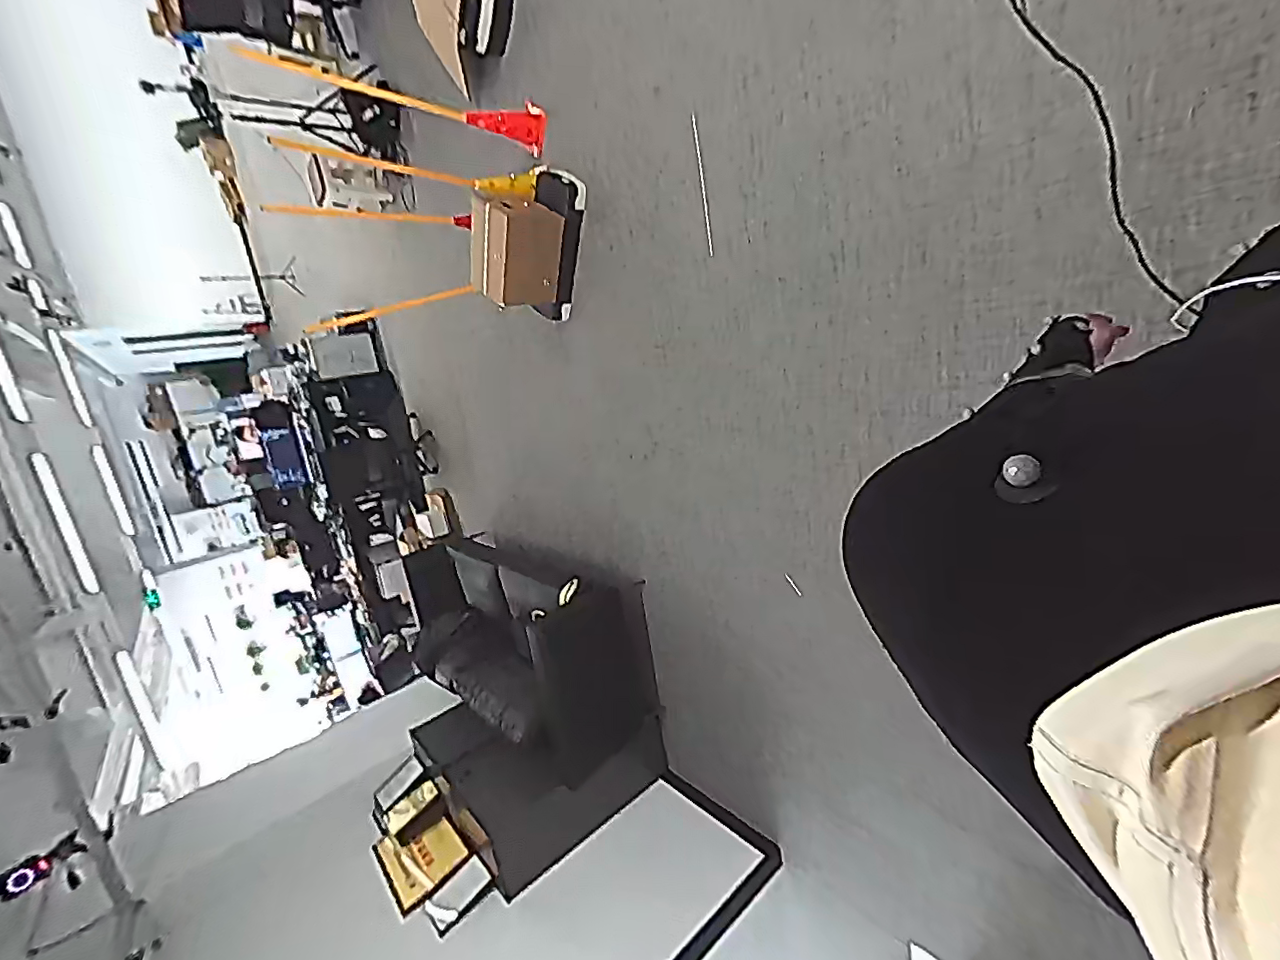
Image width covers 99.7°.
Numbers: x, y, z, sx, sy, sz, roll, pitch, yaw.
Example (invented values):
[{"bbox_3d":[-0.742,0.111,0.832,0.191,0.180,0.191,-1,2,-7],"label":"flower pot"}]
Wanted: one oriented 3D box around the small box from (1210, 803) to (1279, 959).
[{"bbox_3d":[0.790,0.525,0.623,0.168,0.176,0.179,9,113,50],"label":"small box"}]
